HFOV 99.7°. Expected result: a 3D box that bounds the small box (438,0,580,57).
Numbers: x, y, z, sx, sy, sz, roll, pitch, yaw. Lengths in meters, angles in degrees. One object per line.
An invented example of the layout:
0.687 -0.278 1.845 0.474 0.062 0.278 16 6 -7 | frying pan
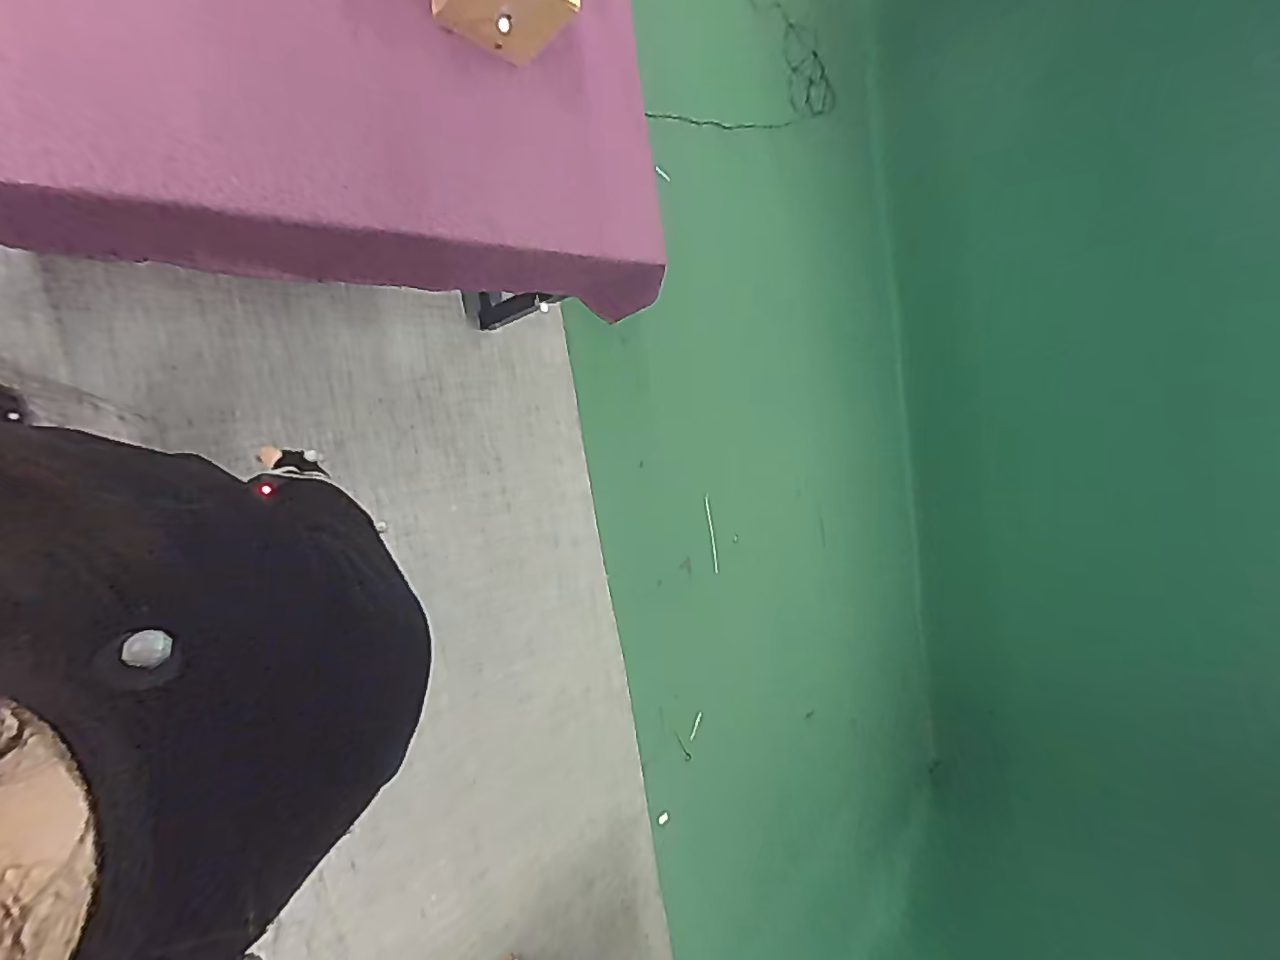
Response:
-0.211 -0.815 0.837 0.168 0.176 0.179 -6 94 -45 | small box
